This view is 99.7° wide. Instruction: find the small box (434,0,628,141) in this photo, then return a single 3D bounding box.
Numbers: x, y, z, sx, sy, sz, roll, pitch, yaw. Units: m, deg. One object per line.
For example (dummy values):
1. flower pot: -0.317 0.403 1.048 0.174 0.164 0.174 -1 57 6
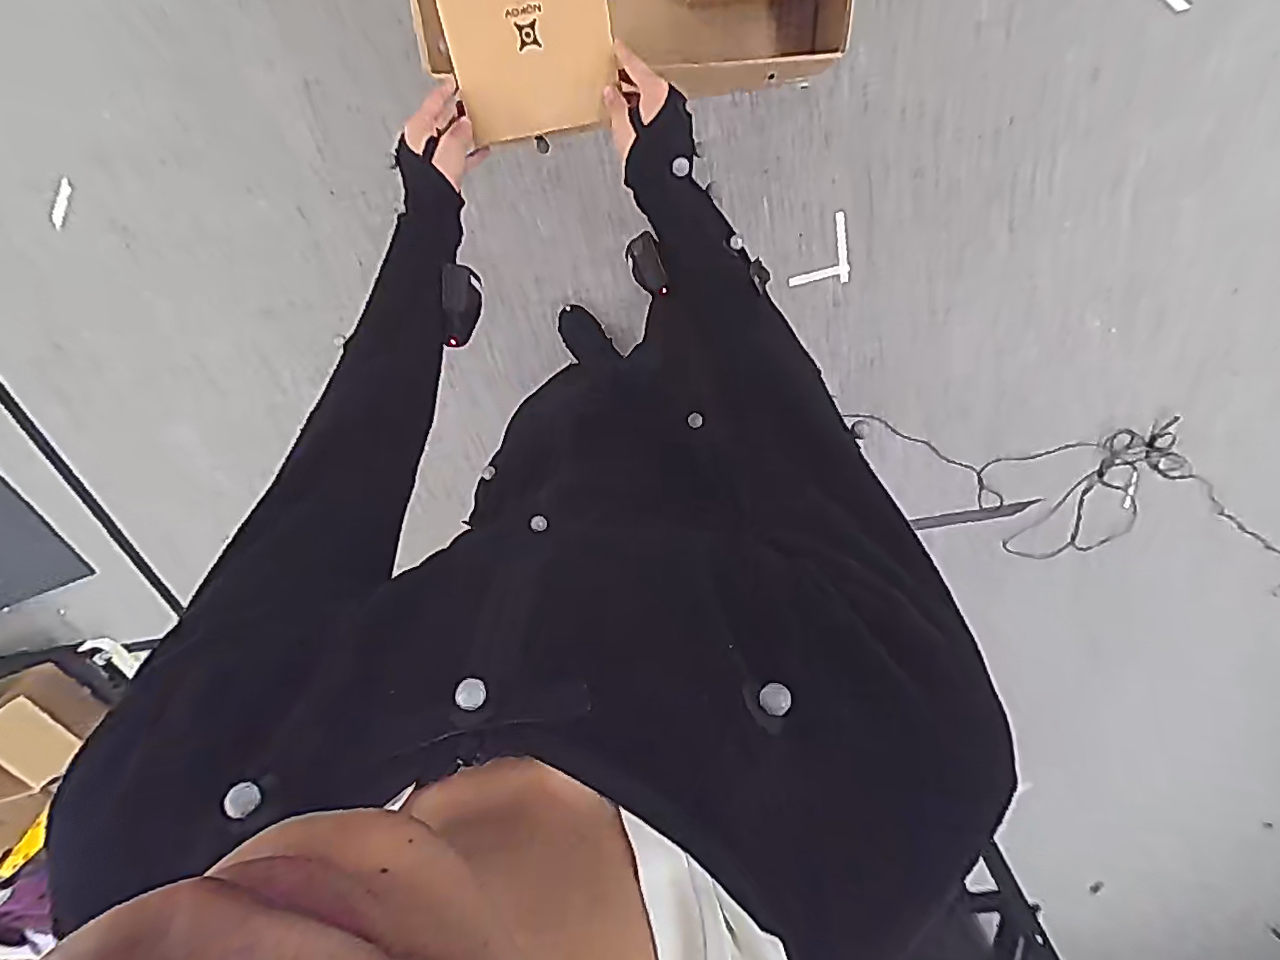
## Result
1. small box: -0.108 -0.483 0.587 0.168 0.176 0.179 -7 120 6
